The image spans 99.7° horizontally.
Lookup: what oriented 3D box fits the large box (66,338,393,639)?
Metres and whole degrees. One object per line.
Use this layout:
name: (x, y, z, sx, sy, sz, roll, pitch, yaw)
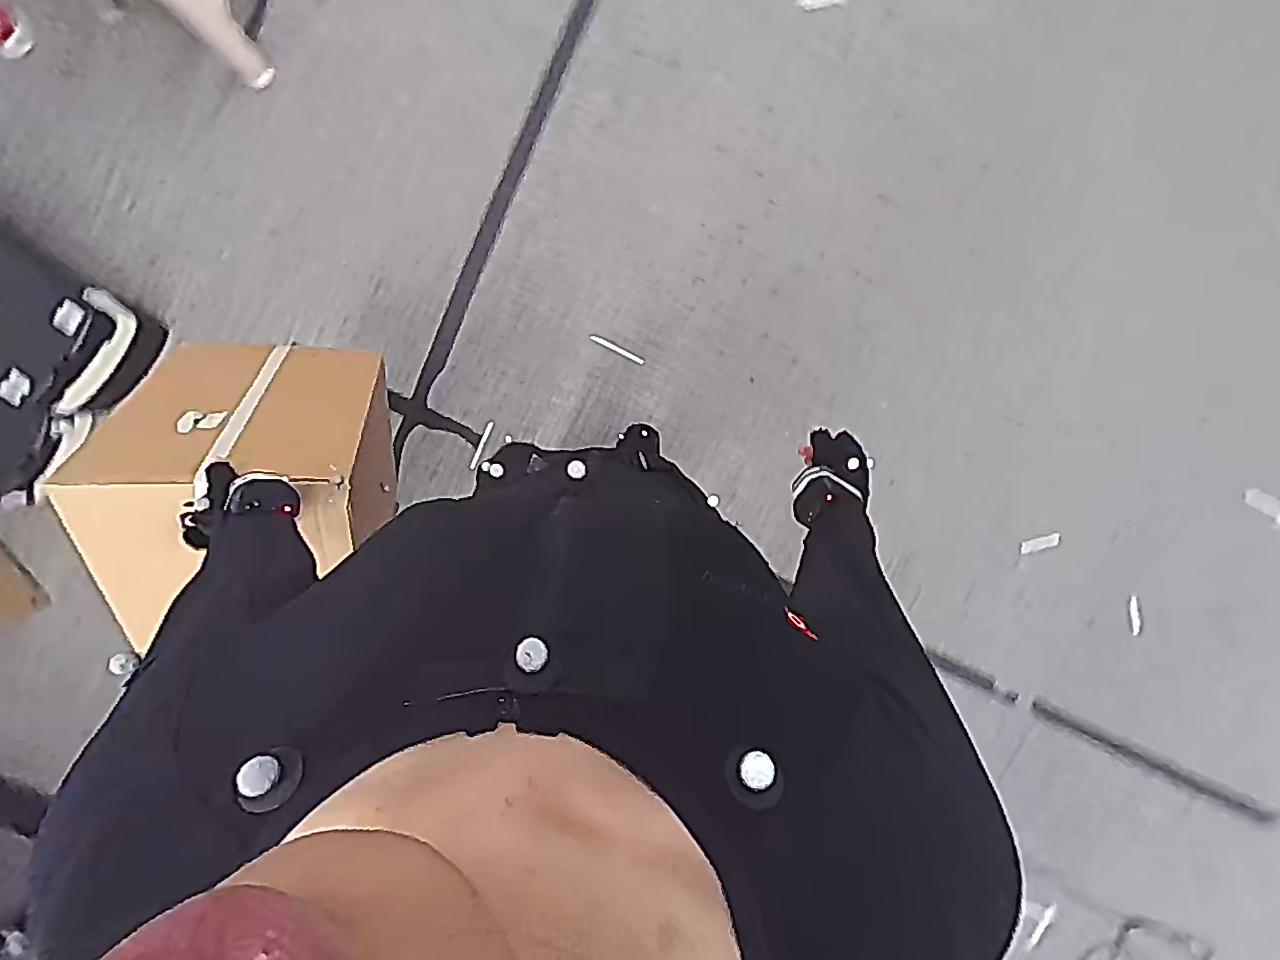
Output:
large box: (-0.602, -0.001, 0.904, 0.320, 0.408, 0.320, 0, 127, -18)
